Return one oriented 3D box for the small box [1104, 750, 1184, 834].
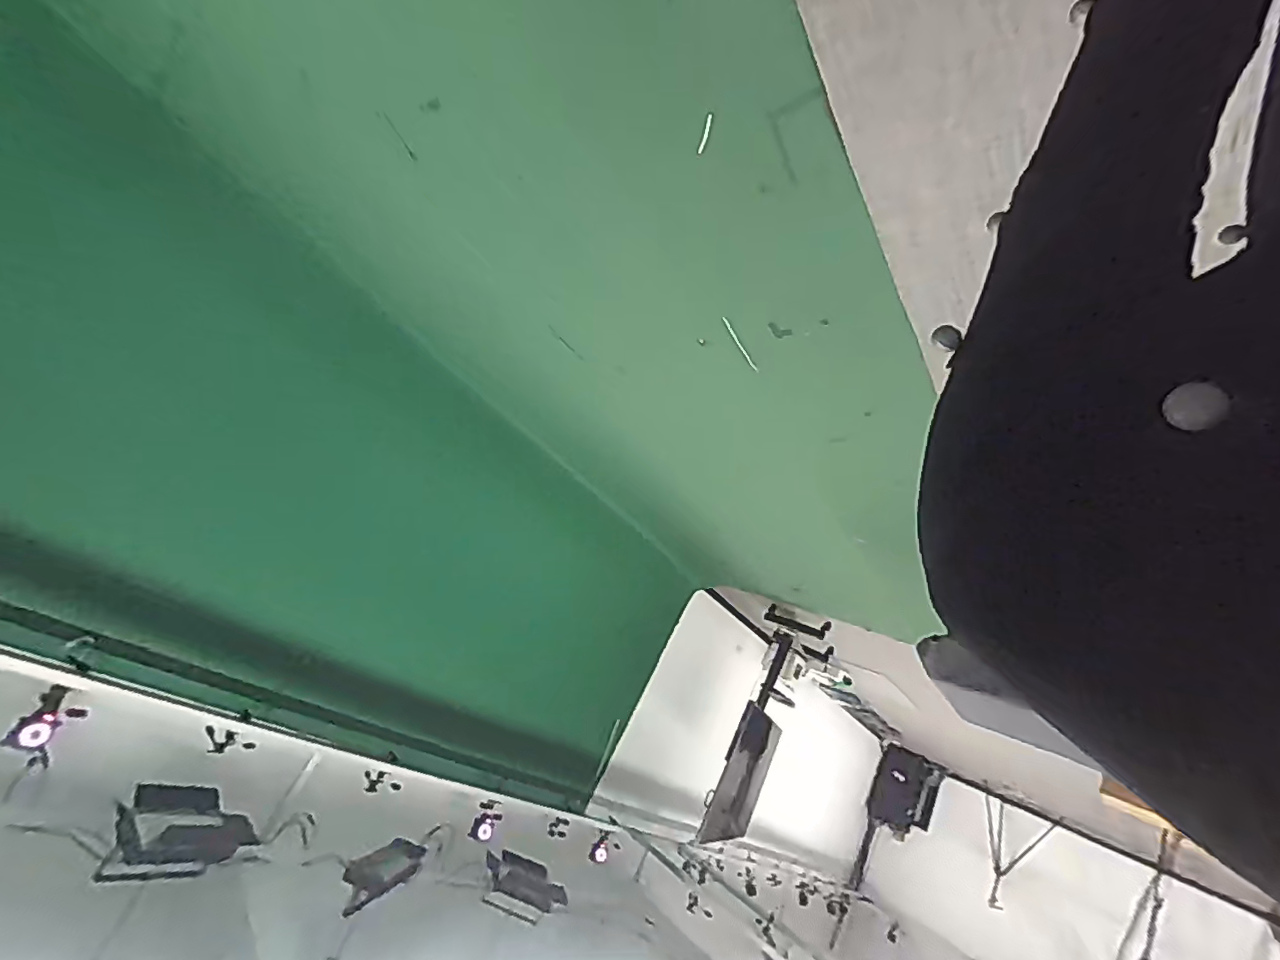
[{"bbox_3d":[1.674,1.030,1.796,0.179,0.176,0.168,10,153,48],"label":"small box"}]
